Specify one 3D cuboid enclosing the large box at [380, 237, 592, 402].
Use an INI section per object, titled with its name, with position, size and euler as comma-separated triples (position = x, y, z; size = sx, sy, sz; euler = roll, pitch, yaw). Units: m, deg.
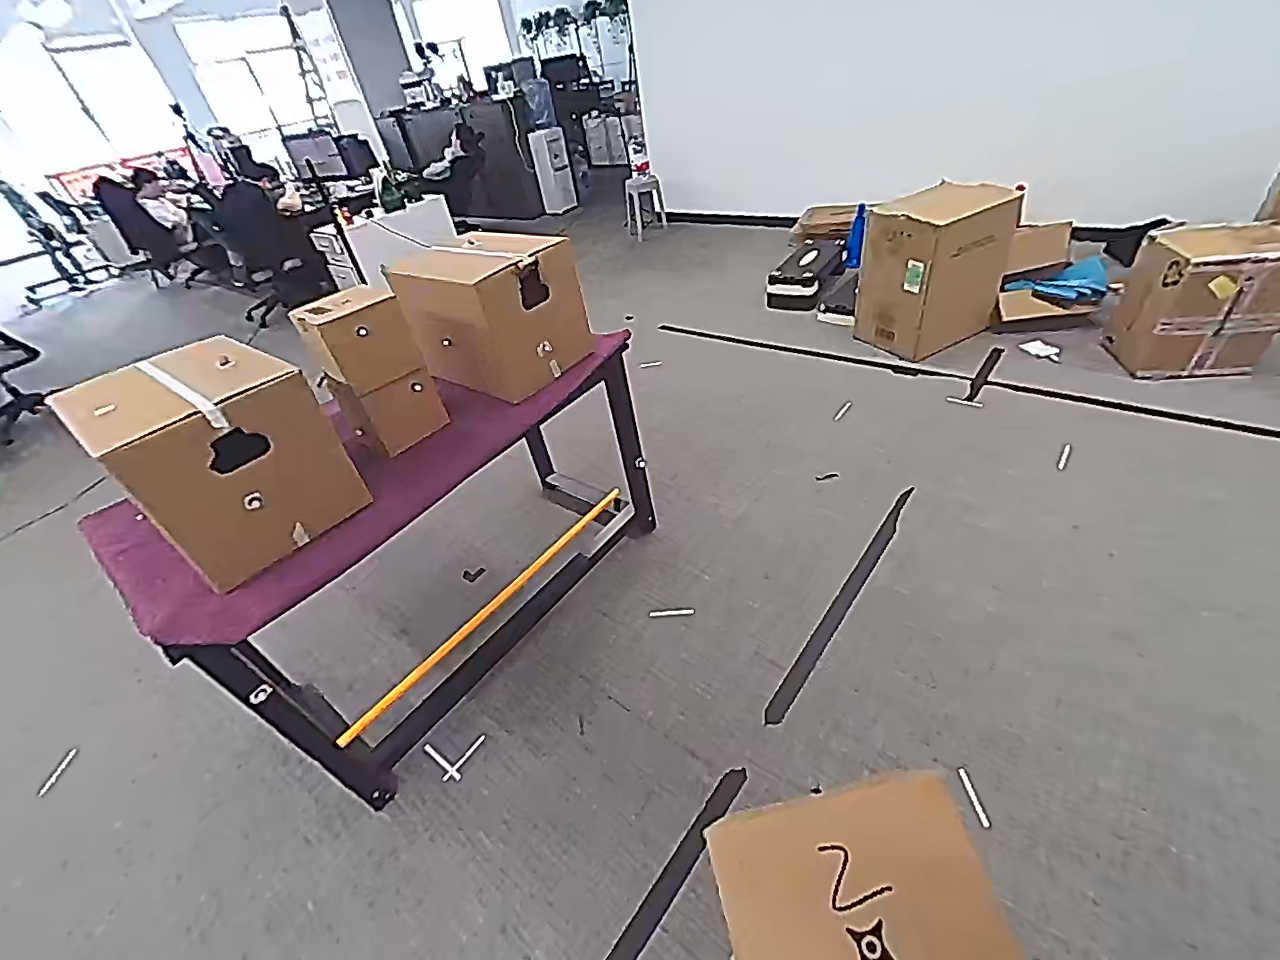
[large box]
position = -0.399, -0.442, 1.456
size = 0.408, 0.320, 0.320
euler = 19, 47, 34
